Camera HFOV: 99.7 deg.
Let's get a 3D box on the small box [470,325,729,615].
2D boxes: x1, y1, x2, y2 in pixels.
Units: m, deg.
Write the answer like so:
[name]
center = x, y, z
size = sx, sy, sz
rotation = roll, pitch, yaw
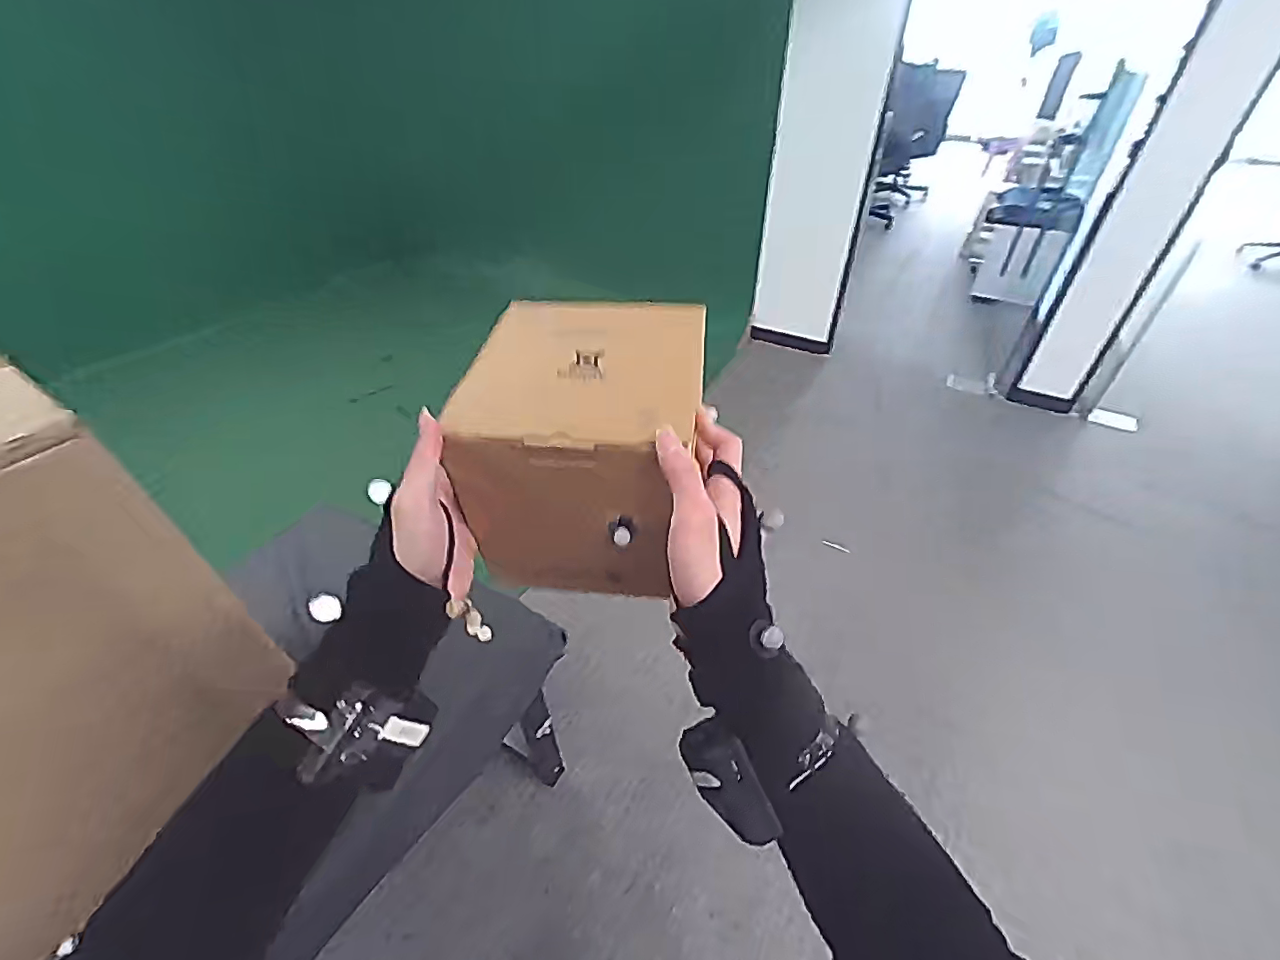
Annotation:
[small box]
center = -0.017, -0.009, 0.448
size = 0.168, 0.176, 0.179
rotation = 5, 43, 5
